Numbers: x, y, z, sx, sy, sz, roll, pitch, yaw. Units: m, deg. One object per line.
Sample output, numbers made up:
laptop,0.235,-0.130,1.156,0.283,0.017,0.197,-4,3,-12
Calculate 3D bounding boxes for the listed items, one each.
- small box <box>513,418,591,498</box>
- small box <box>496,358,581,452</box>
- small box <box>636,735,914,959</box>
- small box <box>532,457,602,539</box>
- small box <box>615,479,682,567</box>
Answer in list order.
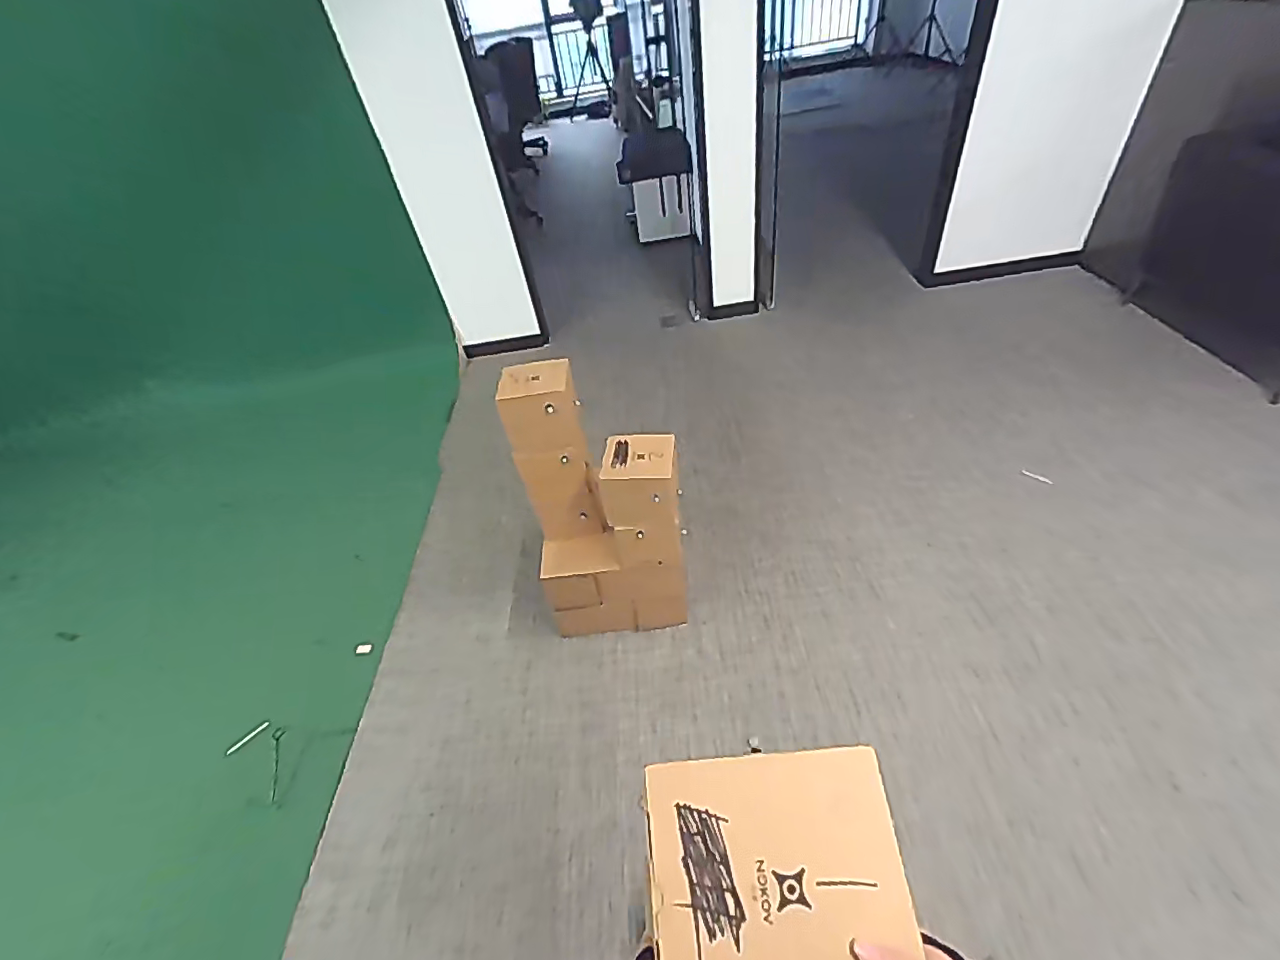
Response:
small box,-0.239,-0.066,1.506,0.179,0.176,0.168,-8,40,2
small box,-0.253,-0.193,1.401,0.179,0.176,0.168,-8,40,3
small box,0.094,0.311,0.447,0.179,0.176,0.168,-5,63,1
small box,-0.209,0.055,1.610,0.179,0.176,0.168,-10,40,2
small box,0.028,0.118,1.489,0.168,0.176,0.179,-5,42,6
